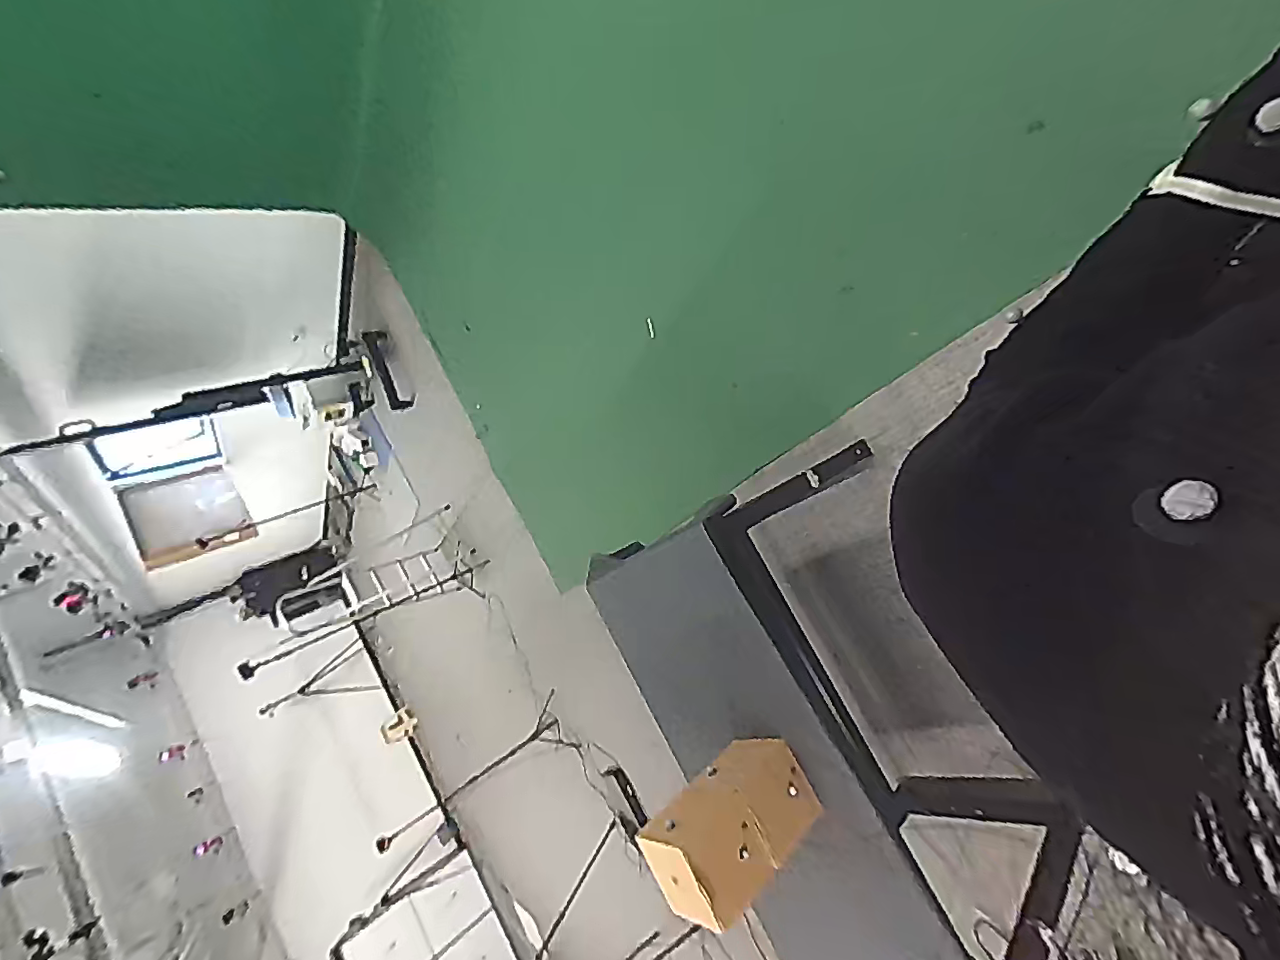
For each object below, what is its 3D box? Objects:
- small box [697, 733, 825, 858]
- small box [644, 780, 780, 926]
[{"bbox_3d":[0.266,0.676,1.182,0.168,0.176,0.179,60,142,7],"label":"small box"},{"bbox_3d":[0.145,0.732,1.088,0.168,0.176,0.179,60,142,8],"label":"small box"}]
